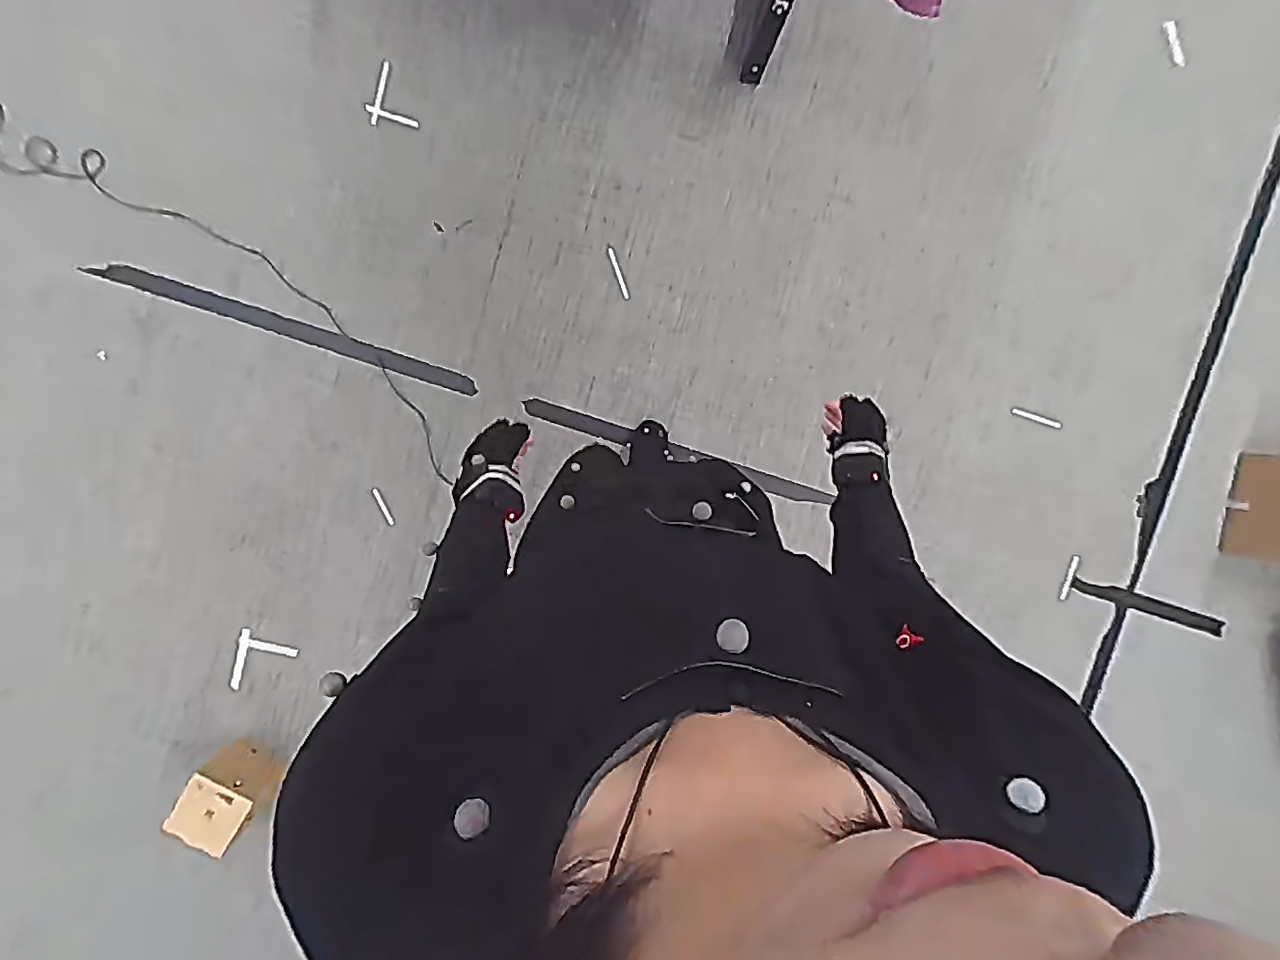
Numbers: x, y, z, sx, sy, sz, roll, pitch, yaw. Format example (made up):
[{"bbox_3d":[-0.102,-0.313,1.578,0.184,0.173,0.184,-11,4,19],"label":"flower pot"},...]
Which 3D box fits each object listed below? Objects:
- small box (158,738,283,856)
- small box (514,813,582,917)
[{"bbox_3d":[-1.102,0.834,1.438,0.168,0.176,0.179,32,92,-6],"label":"small box"},{"bbox_3d":[-0.251,1.067,1.511,0.168,0.176,0.179,5,95,-4],"label":"small box"}]
